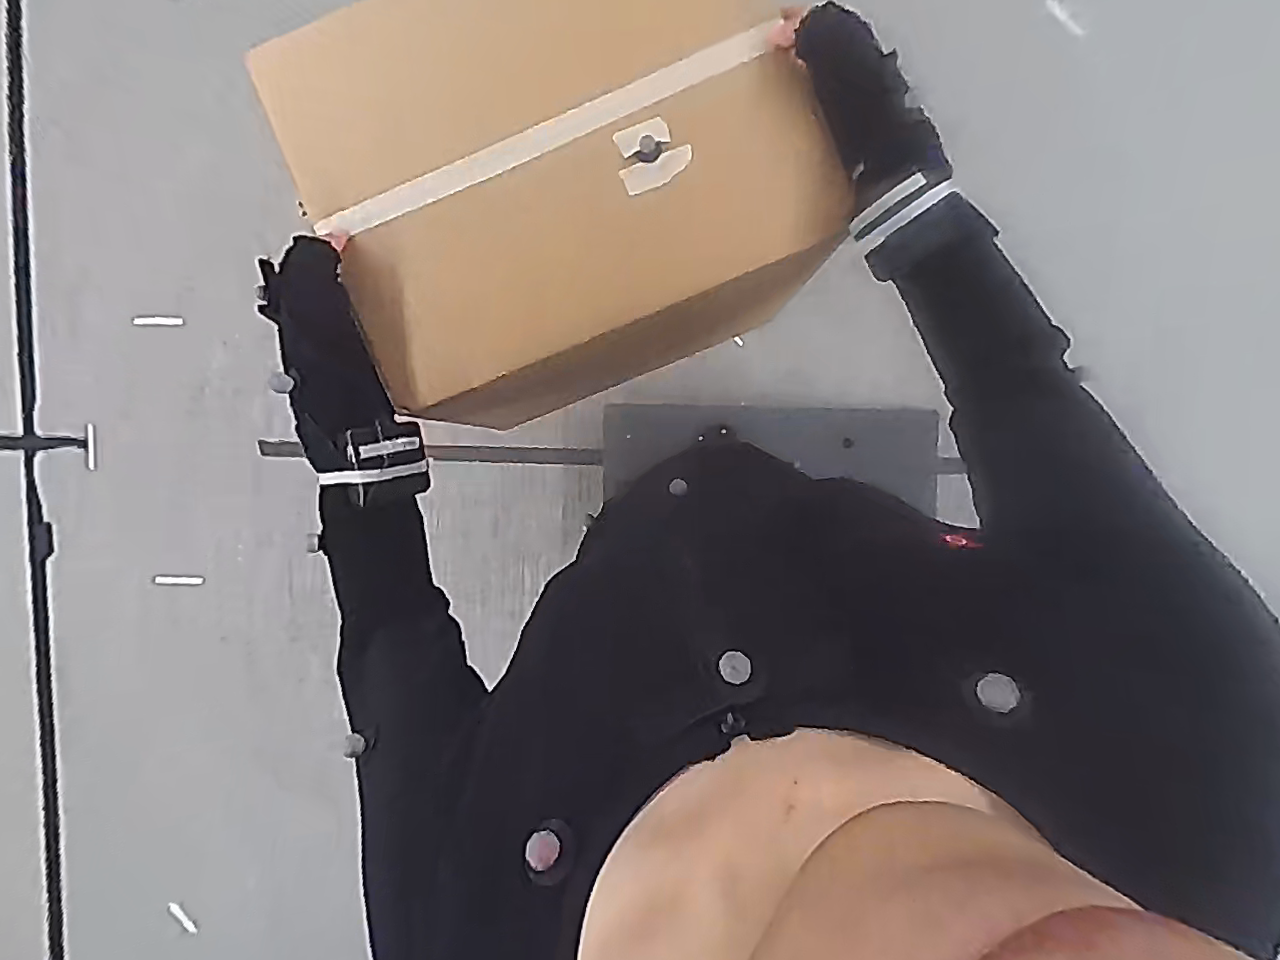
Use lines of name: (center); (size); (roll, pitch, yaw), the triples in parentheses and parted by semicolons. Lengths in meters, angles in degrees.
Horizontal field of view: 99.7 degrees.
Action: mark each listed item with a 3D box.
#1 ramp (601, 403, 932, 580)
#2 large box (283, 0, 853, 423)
ramp: (0.387, 0.027, 1.557); (0.991, 0.206, 0.509); (-2, 91, 1)
large box: (-0.060, -0.285, 0.594); (0.408, 0.320, 0.320); (-22, 92, 2)
